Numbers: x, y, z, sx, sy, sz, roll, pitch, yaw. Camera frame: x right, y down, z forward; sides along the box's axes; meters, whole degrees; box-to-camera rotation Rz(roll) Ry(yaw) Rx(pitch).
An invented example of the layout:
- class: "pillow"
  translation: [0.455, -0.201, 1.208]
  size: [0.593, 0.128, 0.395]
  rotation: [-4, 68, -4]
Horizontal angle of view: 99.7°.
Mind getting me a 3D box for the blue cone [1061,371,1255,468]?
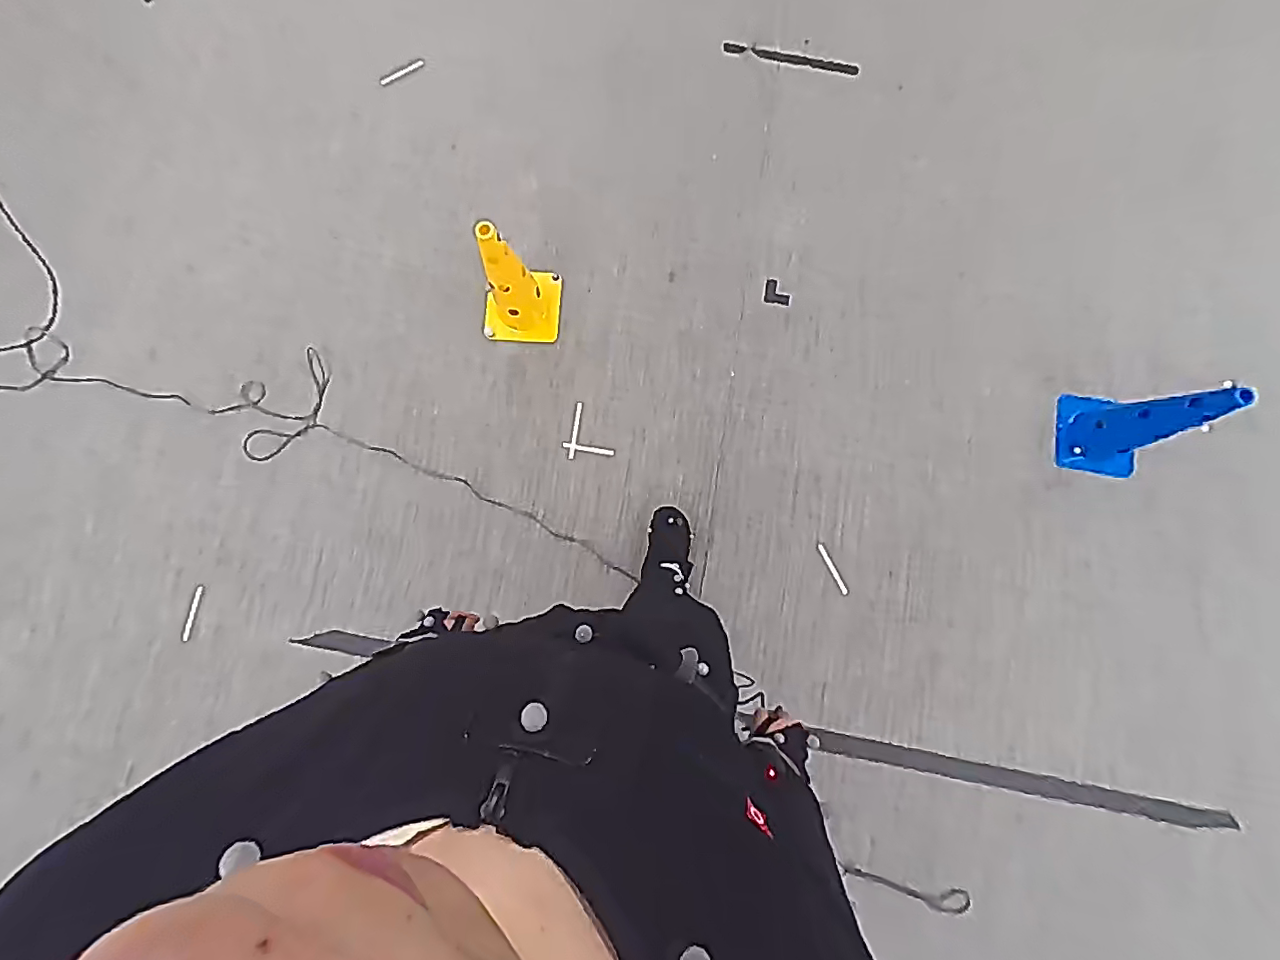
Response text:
- class: "blue cone"
  translation: [1.181, -0.156, 1.233]
  size: [0.193, 0.380, 0.192]
  rotation: [11, 81, 2]
